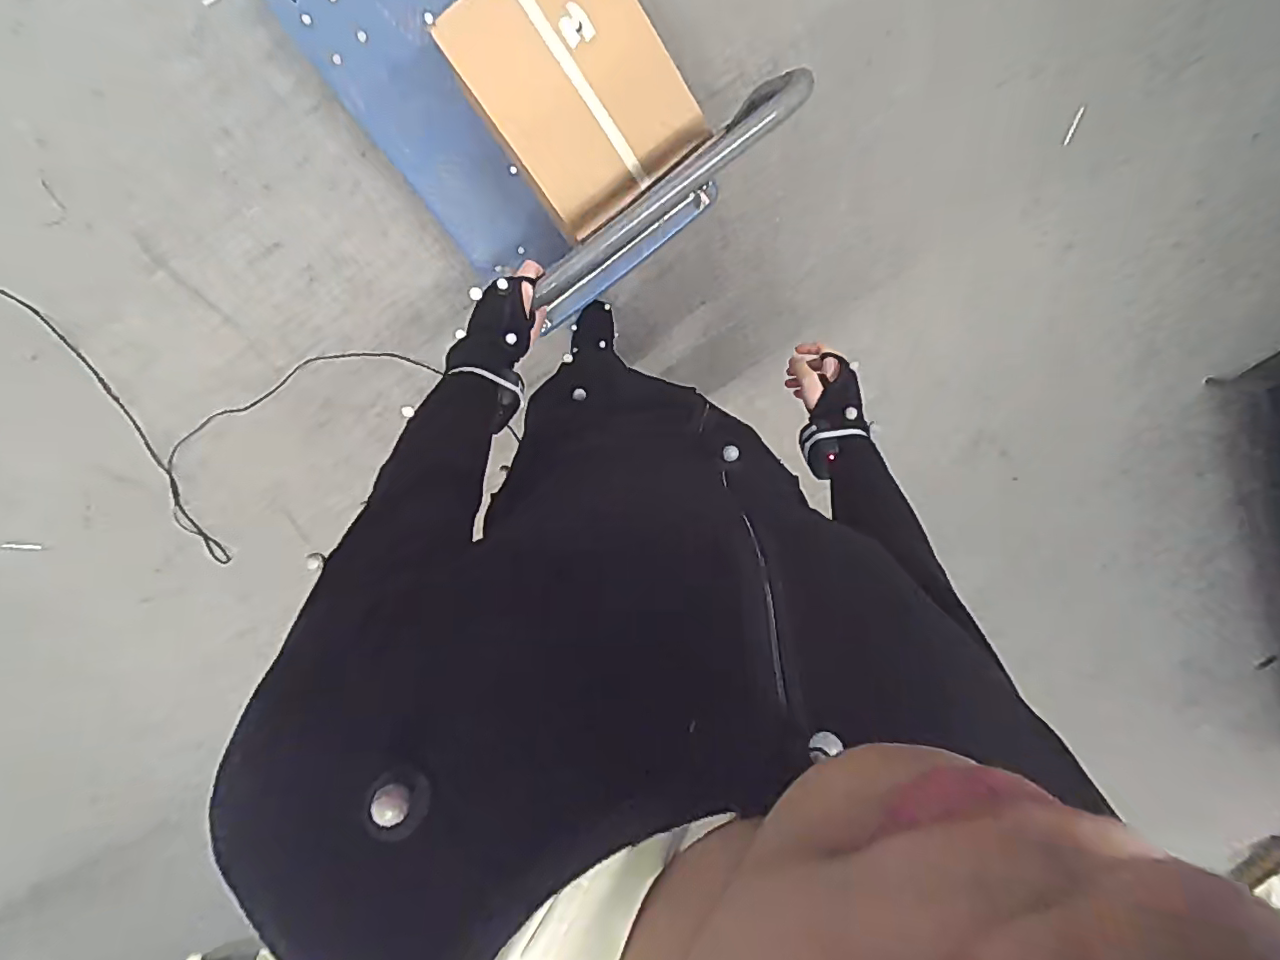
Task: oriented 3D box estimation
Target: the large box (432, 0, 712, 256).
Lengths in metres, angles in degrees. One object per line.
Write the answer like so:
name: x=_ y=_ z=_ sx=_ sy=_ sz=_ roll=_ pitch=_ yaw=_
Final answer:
large box: x=-0.120 y=-0.719 z=1.071 sx=0.320 sy=0.320 sz=0.408 roll=-37 pitch=108 yaw=4
